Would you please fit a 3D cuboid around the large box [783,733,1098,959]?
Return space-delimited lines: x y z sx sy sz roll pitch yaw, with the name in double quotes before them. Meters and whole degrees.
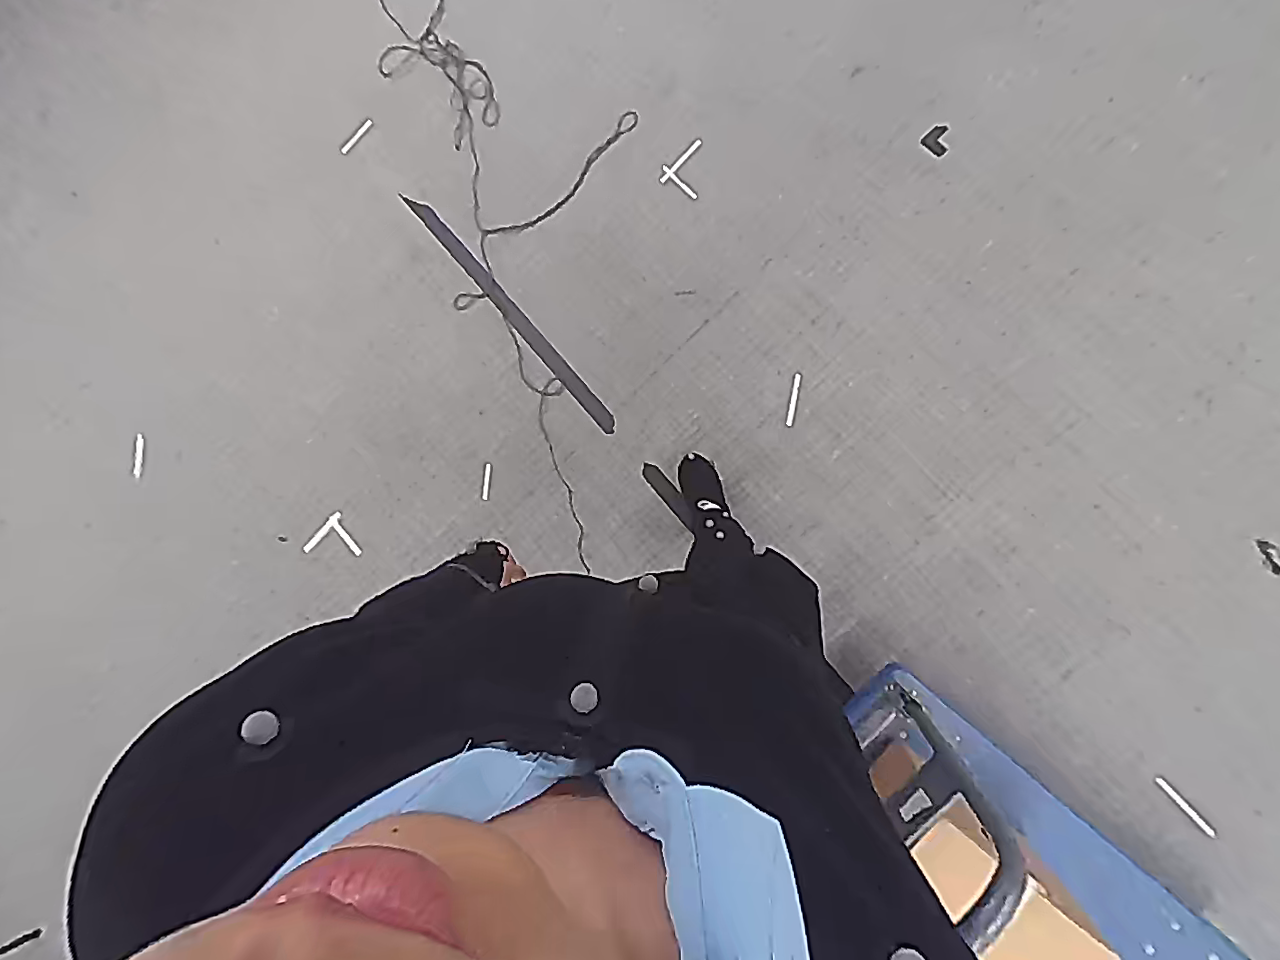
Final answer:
"large box" 0.522 0.793 1.037 0.320 0.320 0.408 37 96 12
